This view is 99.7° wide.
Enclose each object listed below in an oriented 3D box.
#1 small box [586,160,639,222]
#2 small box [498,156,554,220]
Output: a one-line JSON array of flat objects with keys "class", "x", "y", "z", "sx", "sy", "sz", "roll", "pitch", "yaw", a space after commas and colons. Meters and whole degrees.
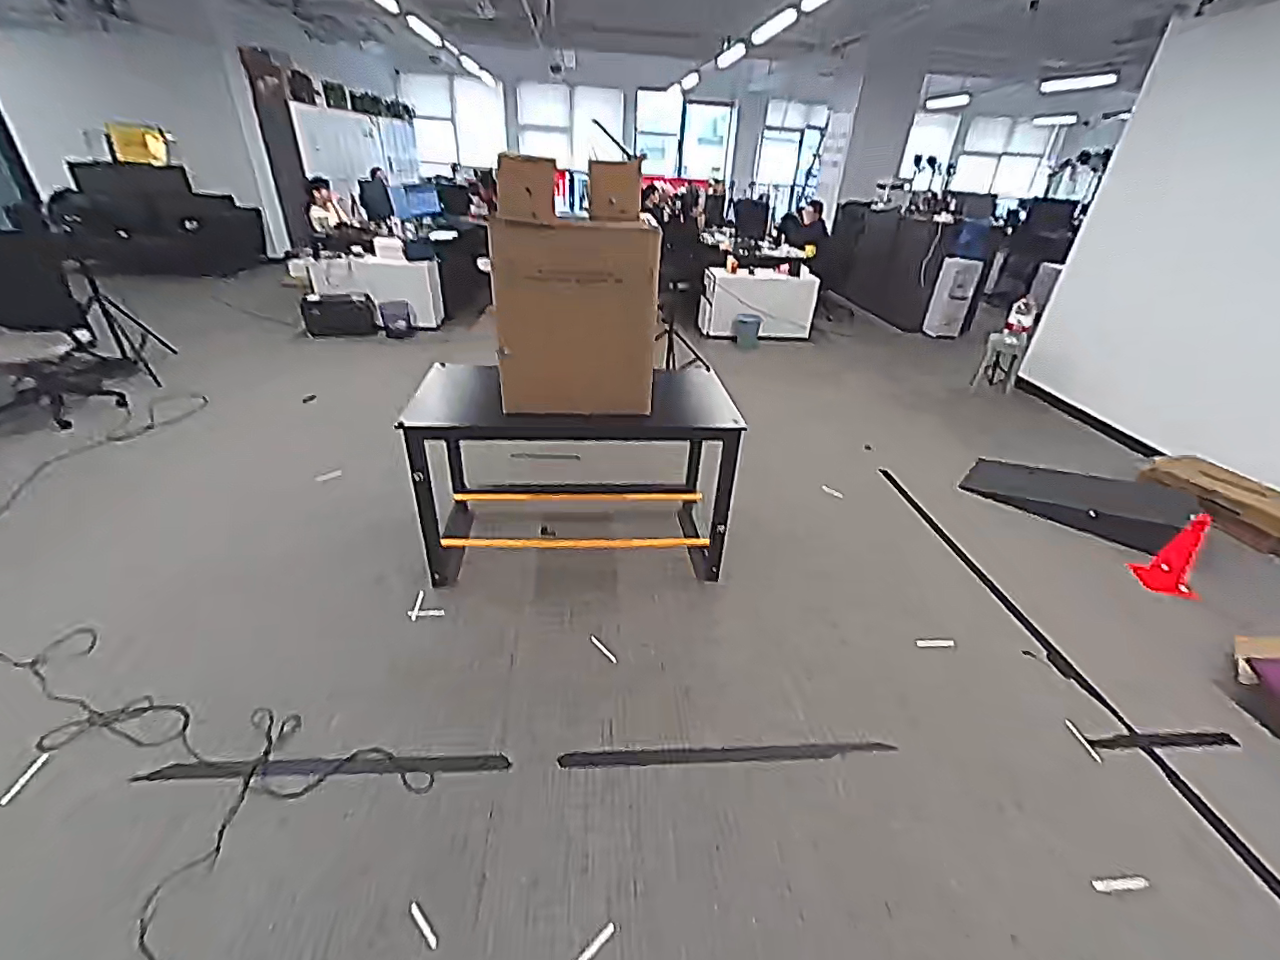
[{"class": "small box", "x": -0.095, "y": -0.955, "z": 1.788, "sx": 0.168, "sy": 0.176, "sz": 0.179, "roll": -3, "pitch": 31, "yaw": -7}, {"class": "small box", "x": -0.368, "y": -0.956, "z": 1.768, "sx": 0.168, "sy": 0.176, "sz": 0.179, "roll": -1, "pitch": 31, "yaw": -7}]
